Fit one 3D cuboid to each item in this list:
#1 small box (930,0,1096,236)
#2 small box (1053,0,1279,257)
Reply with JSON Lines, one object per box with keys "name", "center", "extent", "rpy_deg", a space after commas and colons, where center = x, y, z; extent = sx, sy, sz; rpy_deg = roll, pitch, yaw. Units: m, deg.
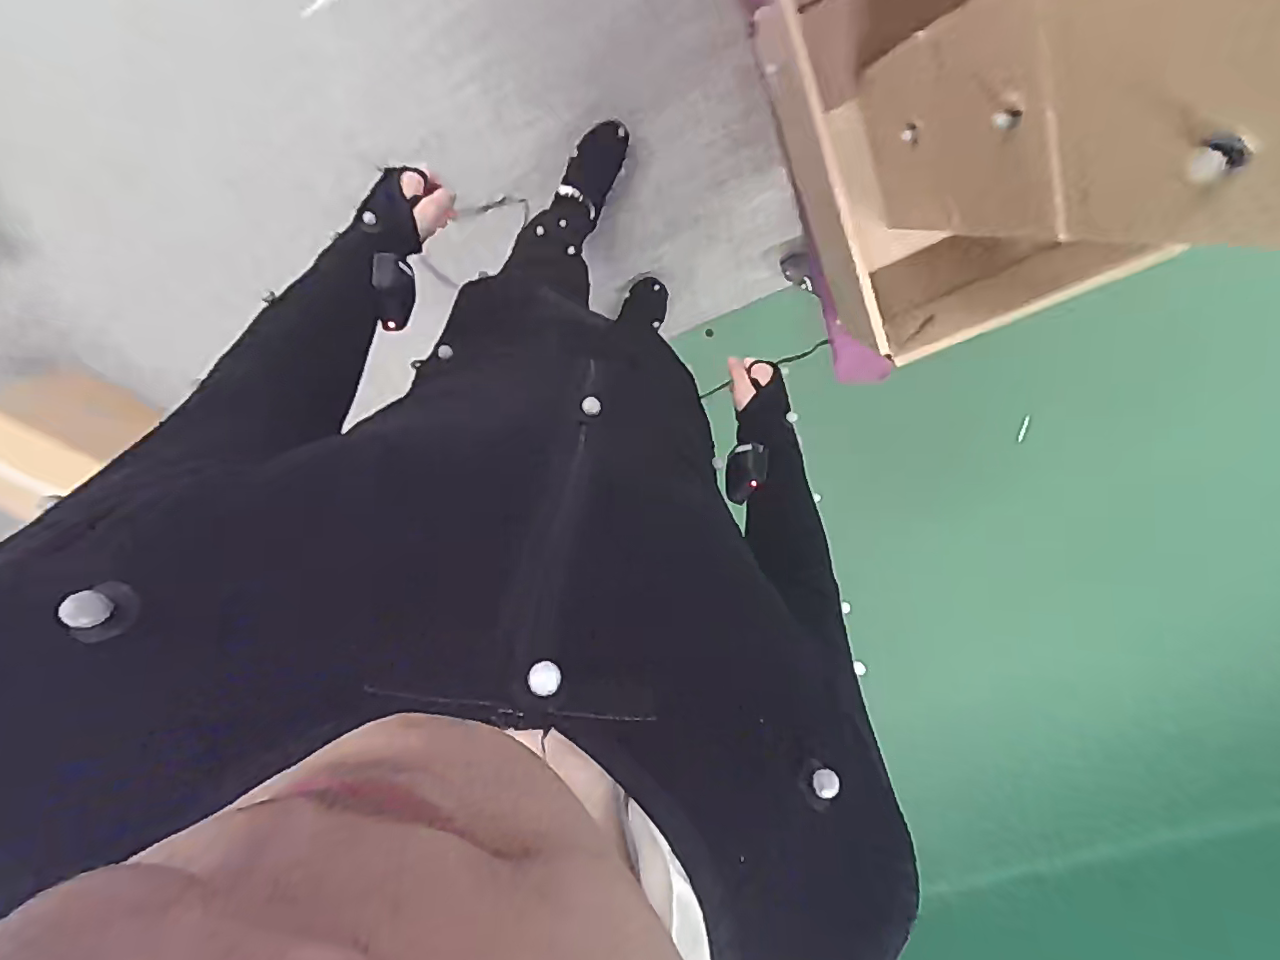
{"name": "small box", "center": [0.352, -0.309, 0.422], "extent": [0.168, 0.176, 0.179], "rpy_deg": [-19, 114, 11]}
{"name": "small box", "center": [0.351, -0.236, 0.273], "extent": [0.168, 0.176, 0.179], "rpy_deg": [-20, 113, 11]}
